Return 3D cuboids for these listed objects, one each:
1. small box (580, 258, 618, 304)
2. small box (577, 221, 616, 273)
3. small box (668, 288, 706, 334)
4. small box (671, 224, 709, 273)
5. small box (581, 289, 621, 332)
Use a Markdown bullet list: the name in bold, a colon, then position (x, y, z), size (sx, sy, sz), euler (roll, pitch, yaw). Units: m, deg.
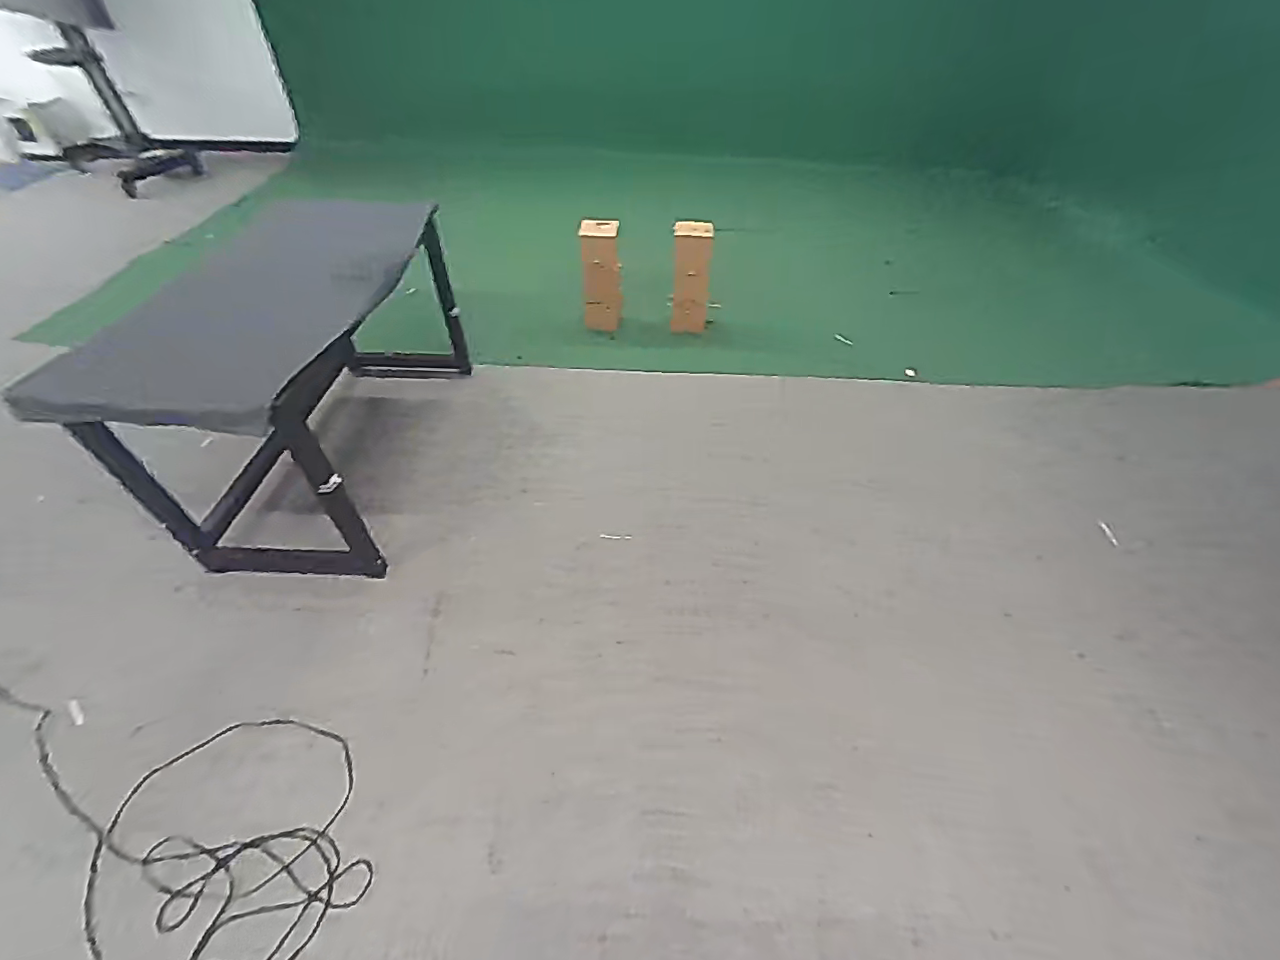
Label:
- **small box**: position (-0.198, -0.990, 2.684), size (0.179, 0.176, 0.168), euler (0, 46, 0)
- **small box**: position (-0.202, -1.107, 2.568), size (0.168, 0.176, 0.179), euler (3, 47, 1)
- **small box**: position (0.244, -0.874, 2.809), size (0.179, 0.176, 0.168), euler (5, 47, 4)
- **small box**: position (0.237, -1.103, 2.573), size (0.179, 0.176, 0.168), euler (4, 46, 4)
- **small box**: position (-0.198, -0.886, 2.808), size (0.179, 0.176, 0.168), euler (6, 46, 5)
